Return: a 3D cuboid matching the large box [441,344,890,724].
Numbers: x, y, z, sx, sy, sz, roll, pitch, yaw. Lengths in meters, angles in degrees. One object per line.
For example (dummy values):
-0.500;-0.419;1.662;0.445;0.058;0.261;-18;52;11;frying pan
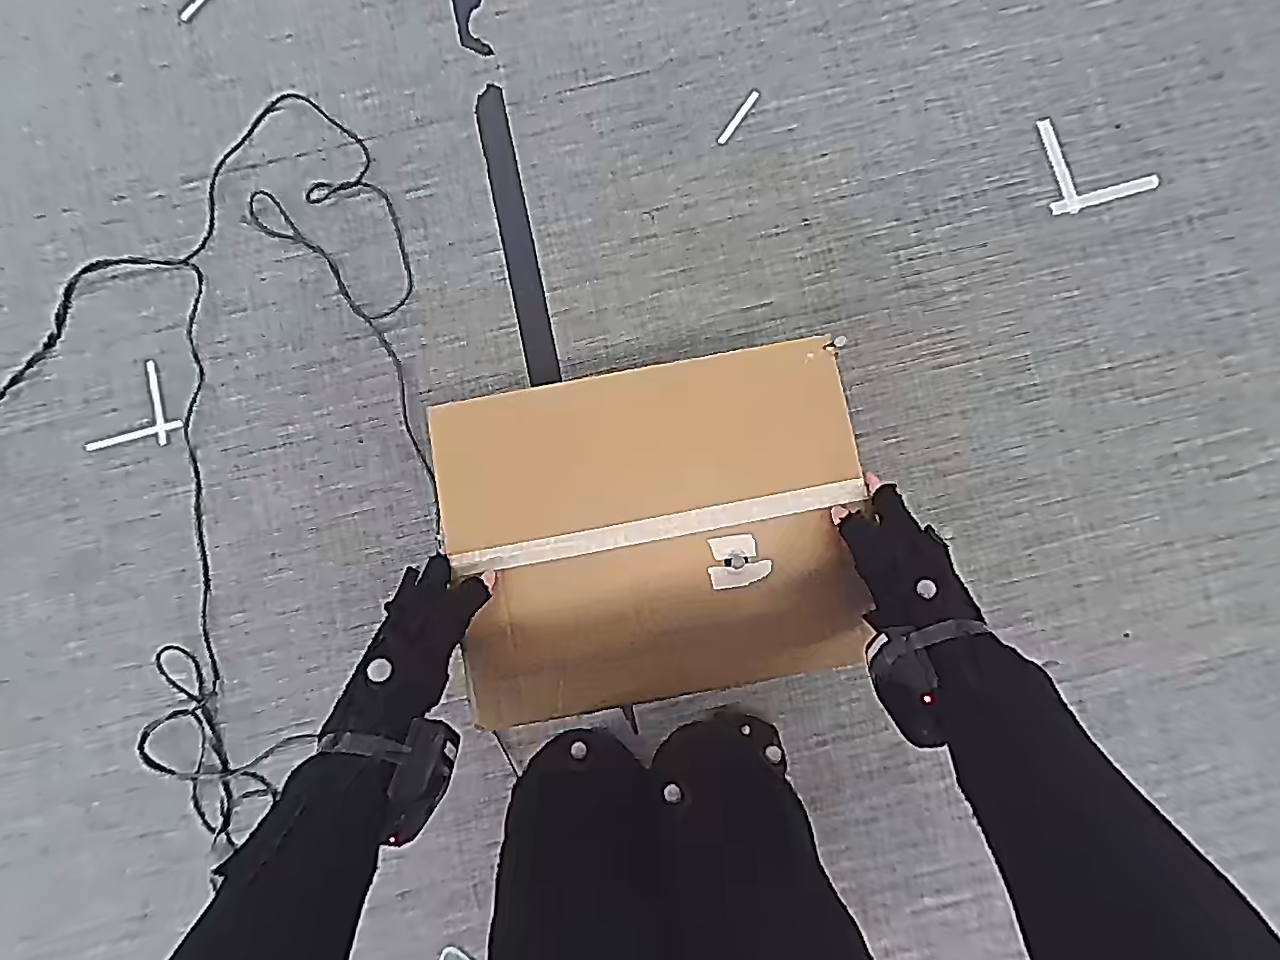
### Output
0.019;0.064;0.680;0.408;0.320;0.320;-10;84;-1;large box
